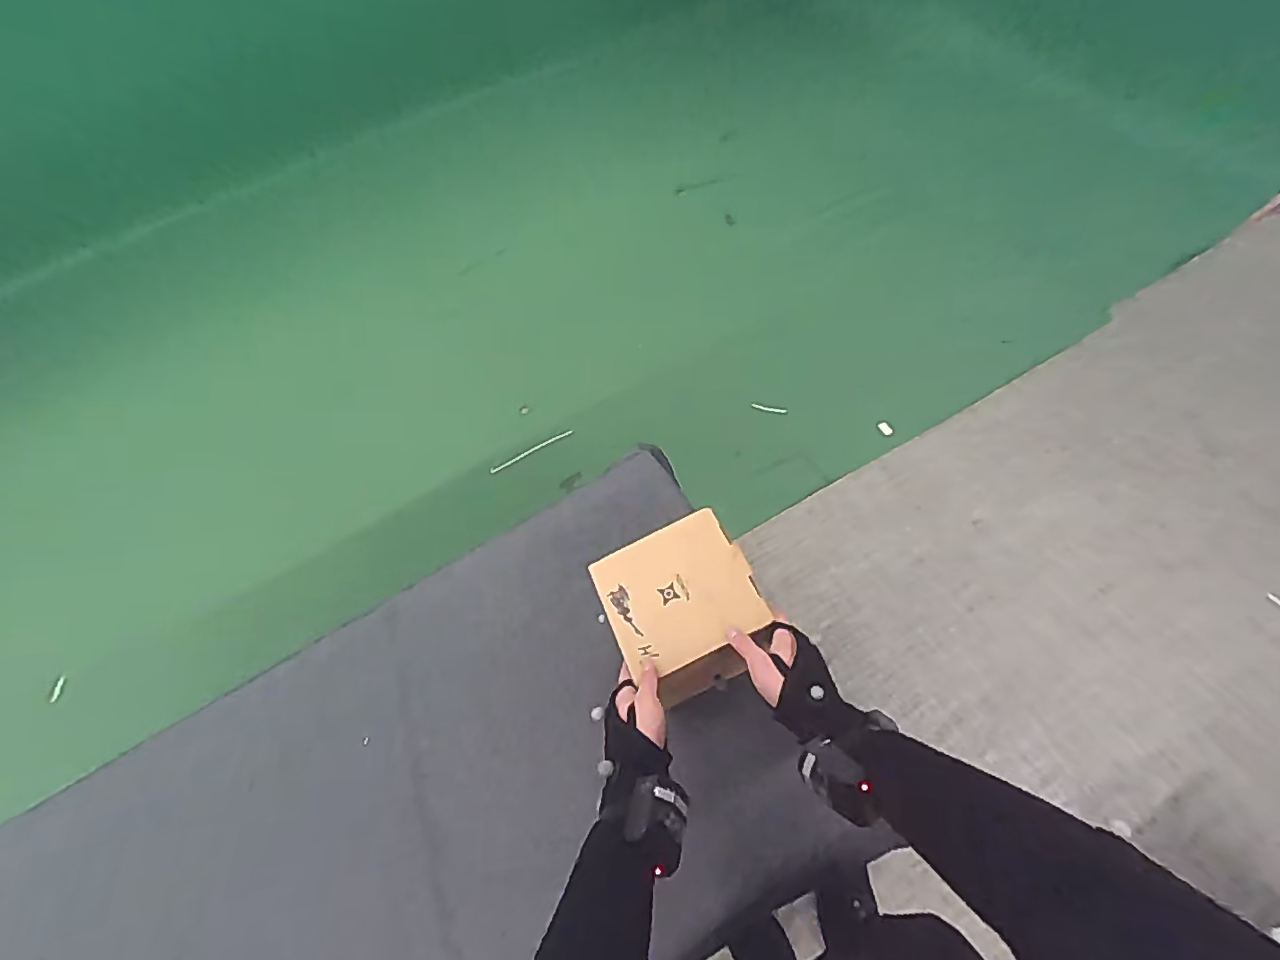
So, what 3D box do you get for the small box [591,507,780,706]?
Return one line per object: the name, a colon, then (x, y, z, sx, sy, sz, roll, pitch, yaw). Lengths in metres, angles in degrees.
small box: (0.058, 0.168, 0.695, 0.179, 0.176, 0.168, -23, 57, -4)
